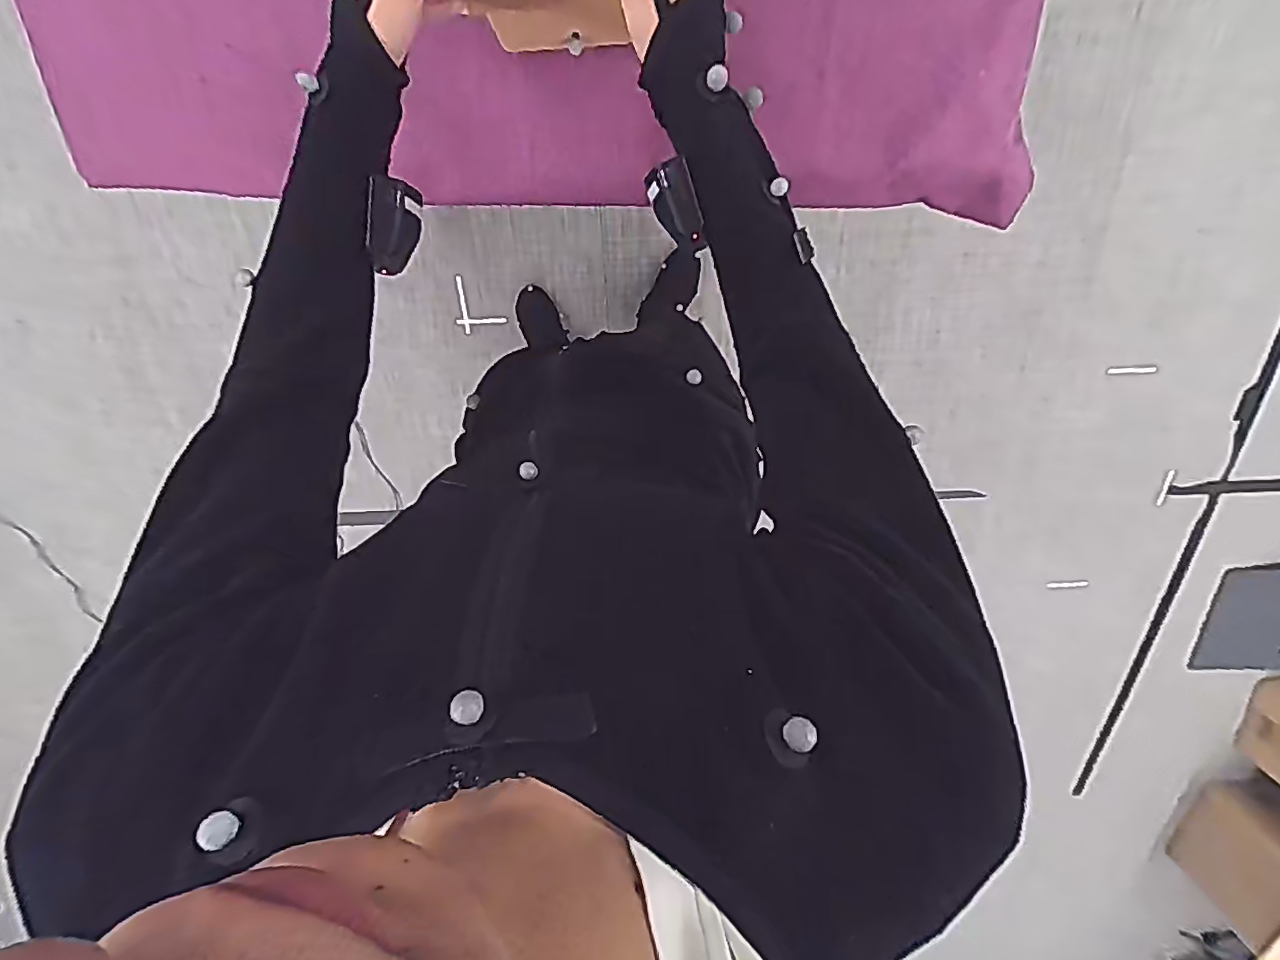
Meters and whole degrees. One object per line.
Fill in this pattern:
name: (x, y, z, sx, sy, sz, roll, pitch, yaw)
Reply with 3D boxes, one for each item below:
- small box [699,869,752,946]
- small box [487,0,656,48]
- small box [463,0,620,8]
small box: (0.321, 1.621, 2.055, 0.168, 0.176, 0.179, -4, 115, -3)
small box: (-0.077, -0.573, 0.555, 0.179, 0.176, 0.168, -5, 114, -2)
small box: (-0.085, -0.493, 0.412, 0.179, 0.176, 0.168, -5, 116, -2)
